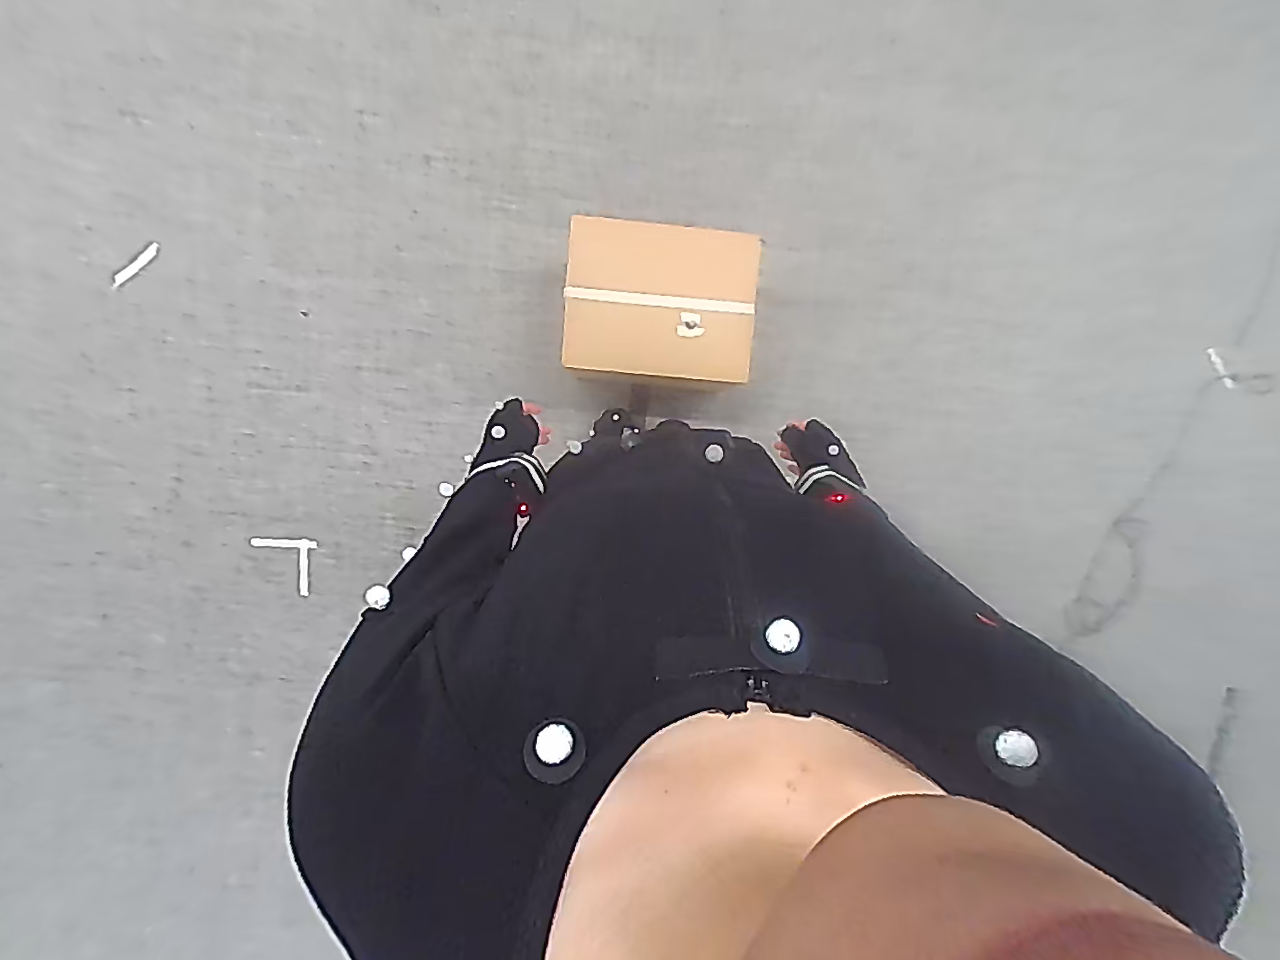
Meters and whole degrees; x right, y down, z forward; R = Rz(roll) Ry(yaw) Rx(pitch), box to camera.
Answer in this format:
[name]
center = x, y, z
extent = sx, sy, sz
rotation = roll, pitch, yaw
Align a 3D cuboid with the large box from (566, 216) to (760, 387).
[large box]
center = 0.037, -0.400, 1.291
extent = 0.408, 0.320, 0.320
rotation = 4, 97, -4
